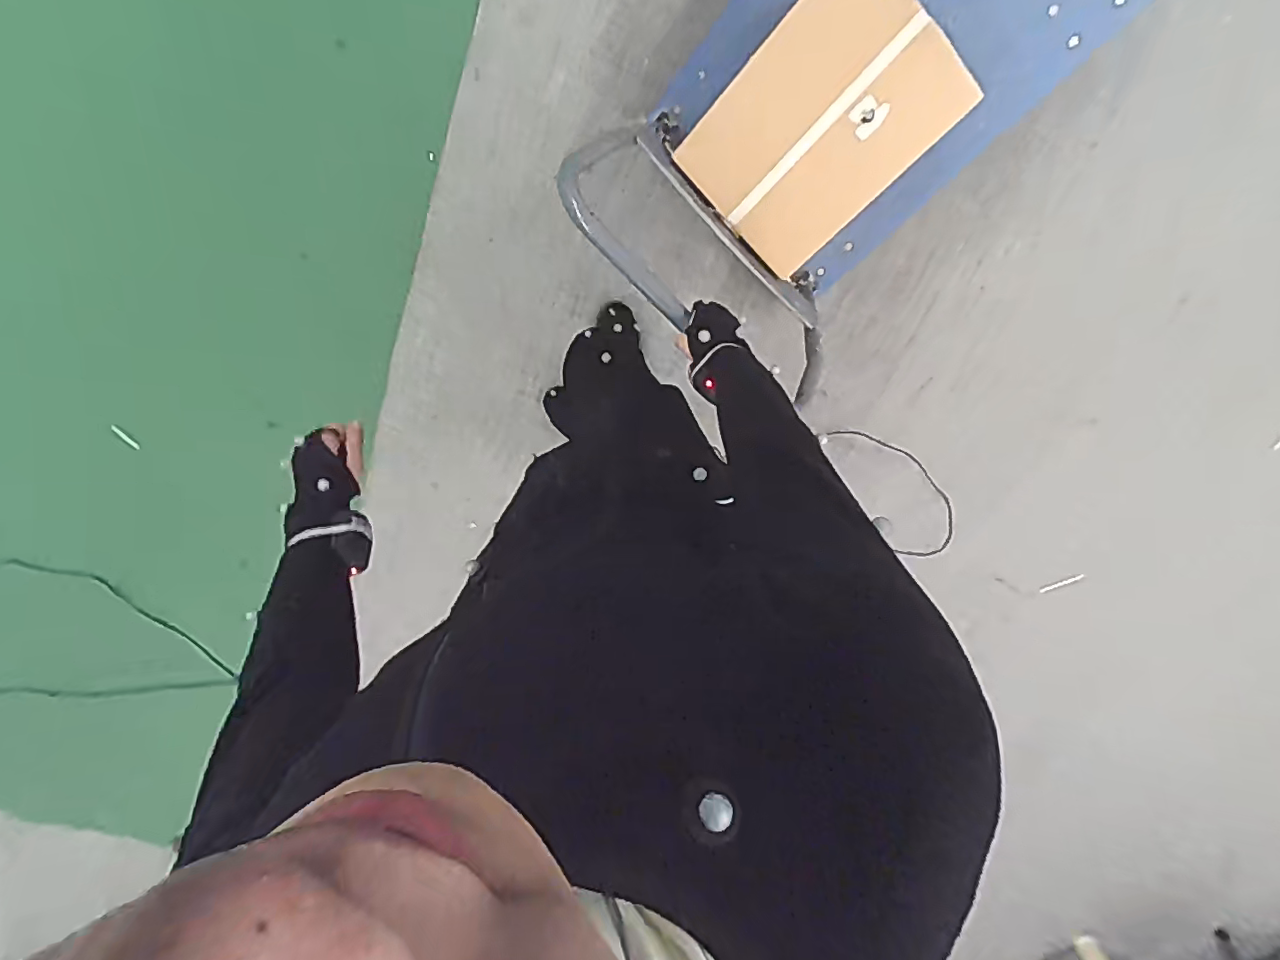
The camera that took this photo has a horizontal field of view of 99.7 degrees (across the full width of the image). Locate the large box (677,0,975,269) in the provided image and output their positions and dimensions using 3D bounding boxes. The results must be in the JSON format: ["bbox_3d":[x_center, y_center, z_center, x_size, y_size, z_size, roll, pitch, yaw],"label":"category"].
[{"bbox_3d":[0.329,-0.694,1.053,0.320,0.320,0.408,42,120,-15],"label":"large box"}]
